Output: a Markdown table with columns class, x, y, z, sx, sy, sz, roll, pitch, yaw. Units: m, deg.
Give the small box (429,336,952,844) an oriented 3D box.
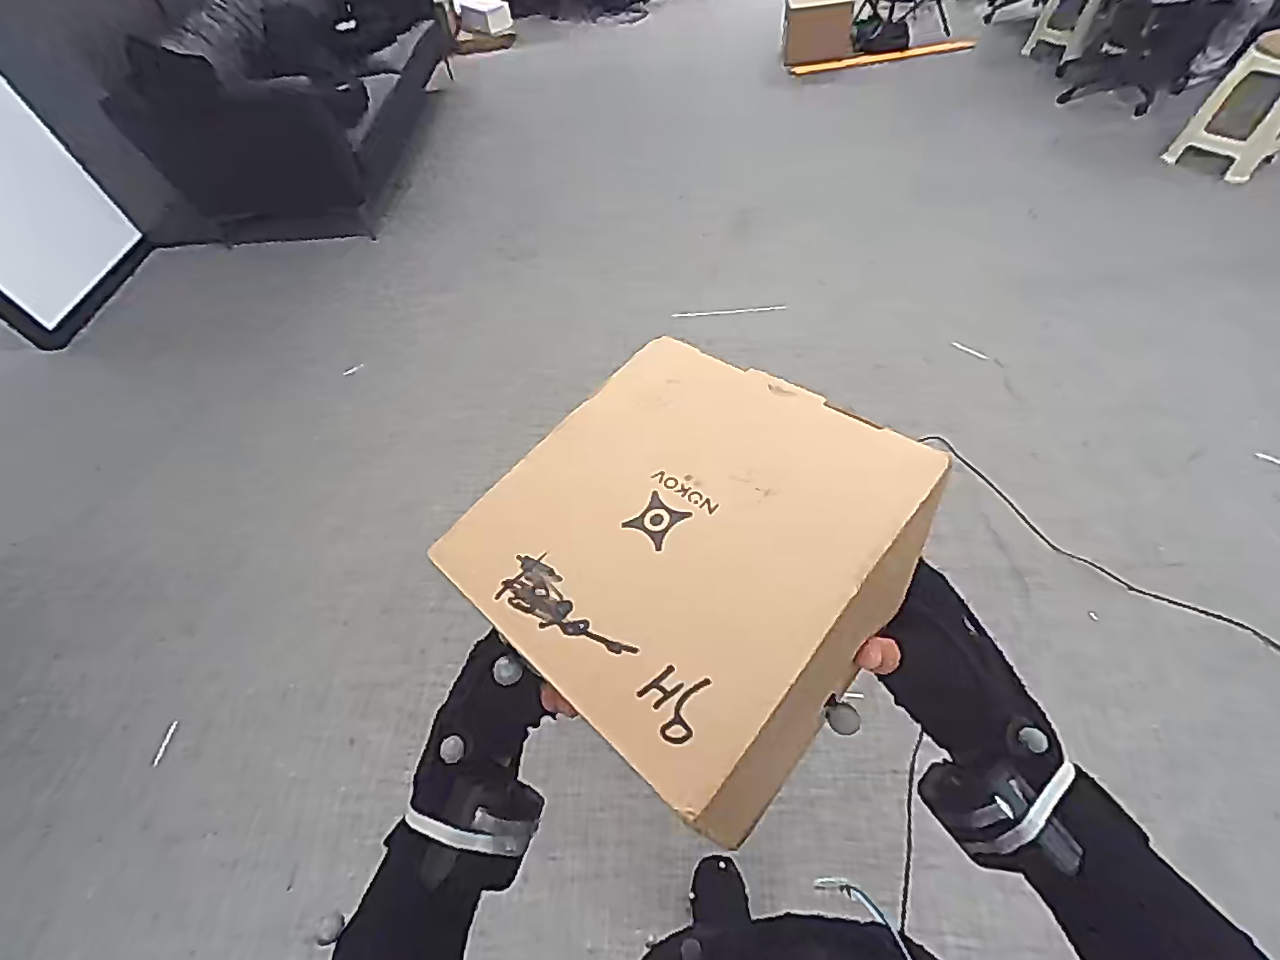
| class | x | y | z | sx | sy | sz | roll | pitch | yaw |
| --- | --- | --- | --- | --- | --- | --- | --- | --- | --- |
| small box | 0.031 | 0.058 | 0.298 | 0.168 | 0.176 | 0.179 | 32 | 67 | 33 |
